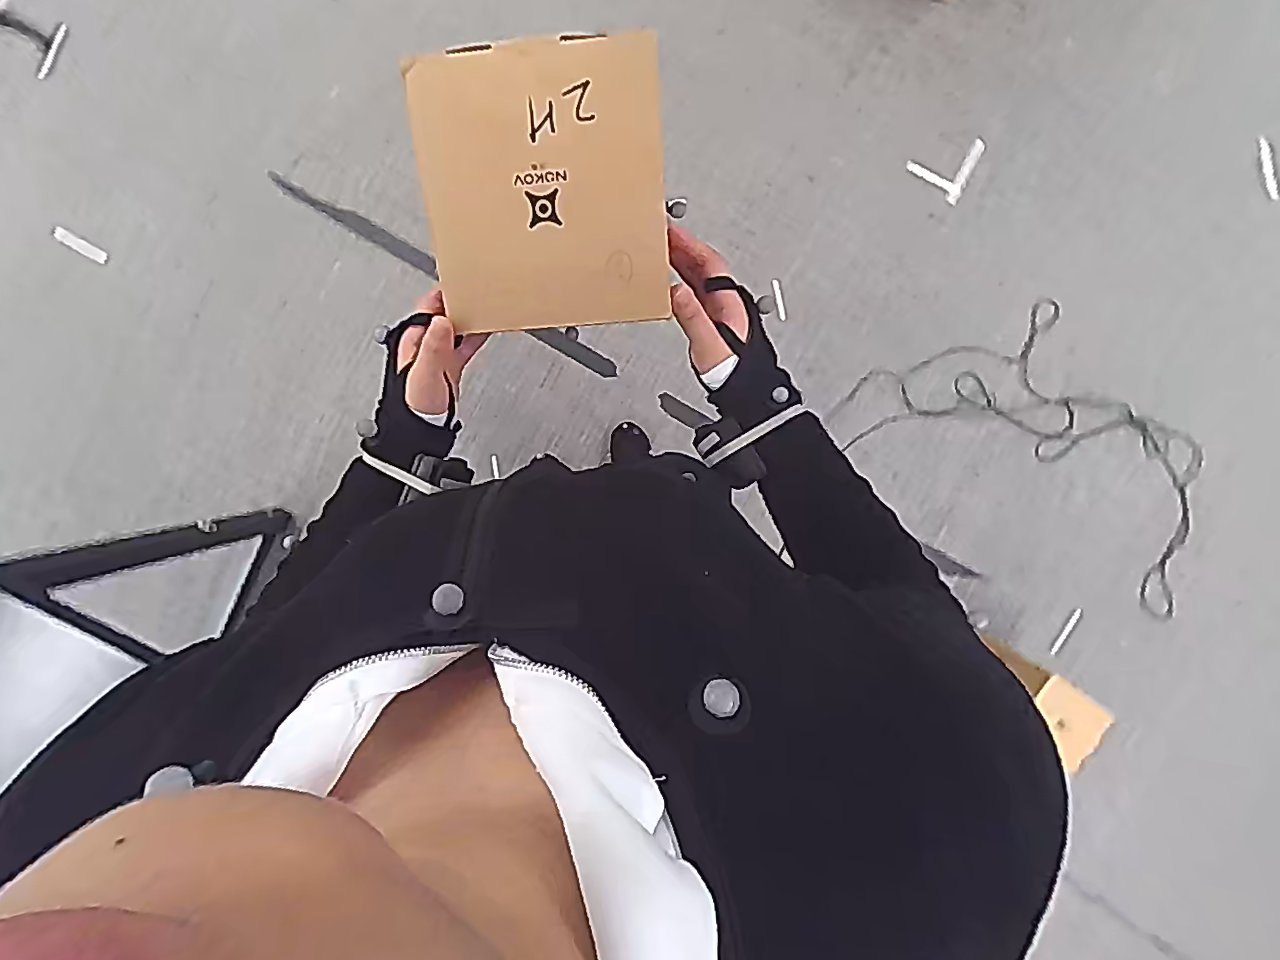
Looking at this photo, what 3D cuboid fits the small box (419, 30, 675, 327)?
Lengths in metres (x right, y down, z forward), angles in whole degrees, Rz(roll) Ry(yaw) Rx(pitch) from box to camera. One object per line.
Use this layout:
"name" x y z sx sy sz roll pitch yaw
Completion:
"small box" -0.055 -0.224 0.445 0.168 0.176 0.179 -2 108 3

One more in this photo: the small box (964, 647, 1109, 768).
"small box" 0.923 0.524 1.276 0.179 0.176 0.168 34 93 -1

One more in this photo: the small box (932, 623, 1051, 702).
"small box" 0.923 0.508 1.439 0.168 0.176 0.179 29 93 -2
